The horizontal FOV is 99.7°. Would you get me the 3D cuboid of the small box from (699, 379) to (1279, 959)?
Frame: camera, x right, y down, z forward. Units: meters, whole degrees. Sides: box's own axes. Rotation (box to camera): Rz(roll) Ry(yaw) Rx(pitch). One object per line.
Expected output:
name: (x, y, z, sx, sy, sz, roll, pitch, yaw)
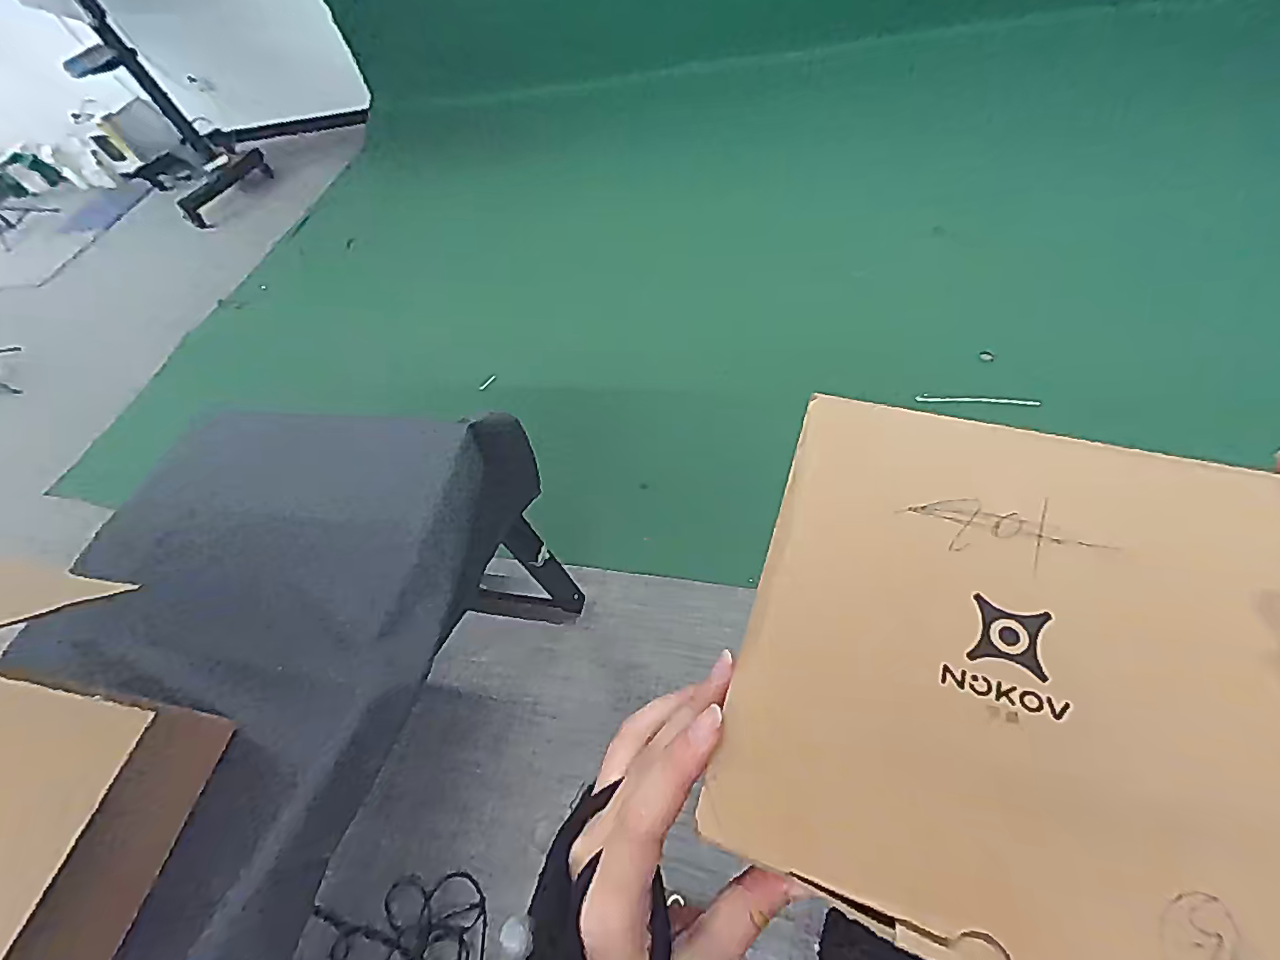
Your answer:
small box: (0.135, 0.086, 0.245, 0.168, 0.176, 0.179, 15, 65, 16)
